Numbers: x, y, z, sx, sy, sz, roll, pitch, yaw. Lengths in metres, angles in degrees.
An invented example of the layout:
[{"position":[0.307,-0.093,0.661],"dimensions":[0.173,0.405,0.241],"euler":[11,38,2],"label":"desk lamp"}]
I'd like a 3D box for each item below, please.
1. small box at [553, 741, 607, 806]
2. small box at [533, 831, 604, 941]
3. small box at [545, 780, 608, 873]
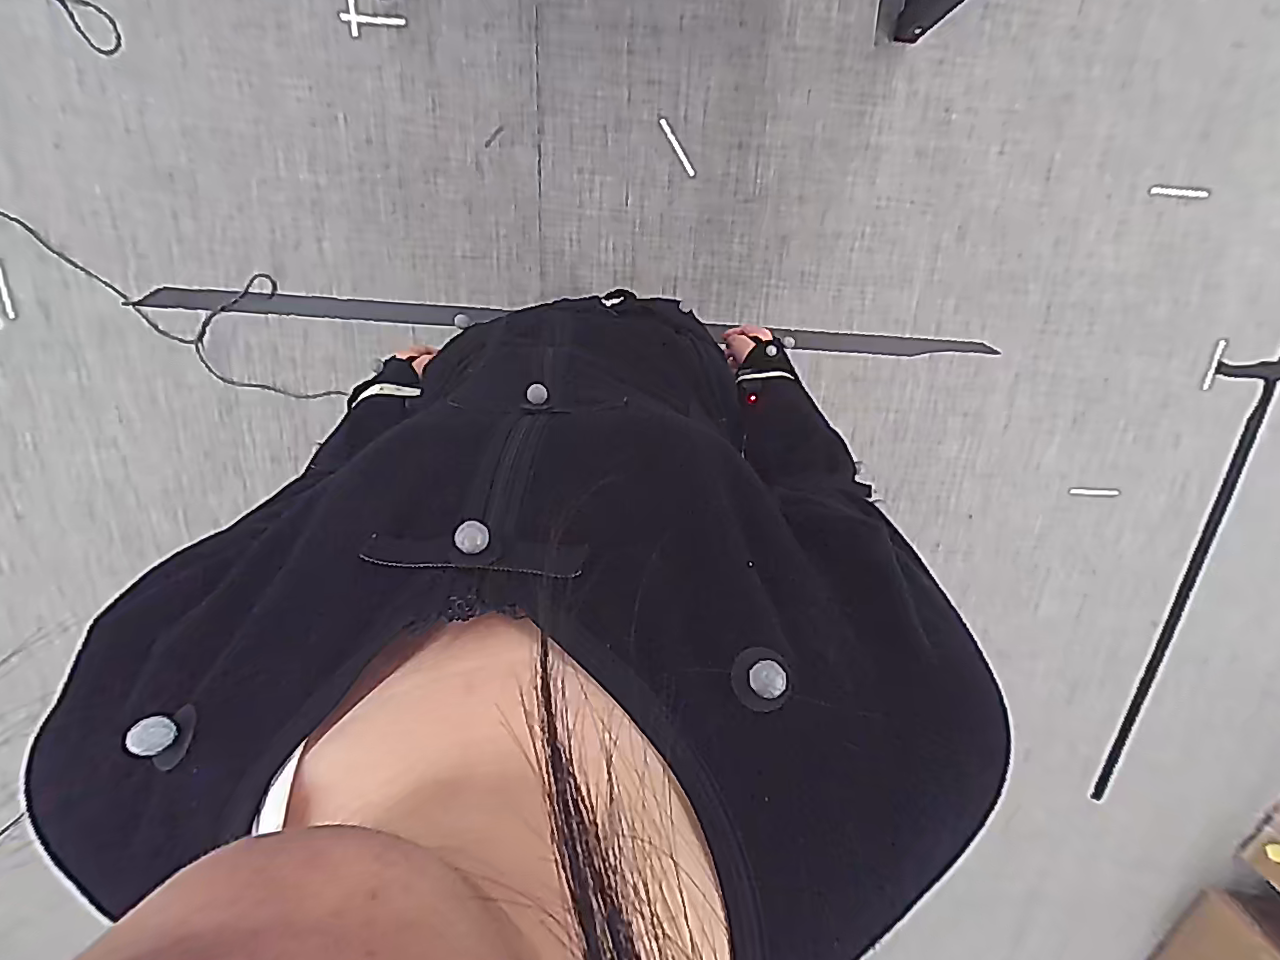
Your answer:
[{"position":[-0.191,0.971,1.754],"dimensions":[0.168,0.176,0.179],"euler":[-2,109,-2],"label":"small box"},{"position":[-0.184,1.079,1.443],"dimensions":[0.168,0.176,0.179],"euler":[-3,108,-2],"label":"small box"},{"position":[-0.182,1.027,1.600],"dimensions":[0.168,0.176,0.179],"euler":[-3,110,-2],"label":"small box"}]
